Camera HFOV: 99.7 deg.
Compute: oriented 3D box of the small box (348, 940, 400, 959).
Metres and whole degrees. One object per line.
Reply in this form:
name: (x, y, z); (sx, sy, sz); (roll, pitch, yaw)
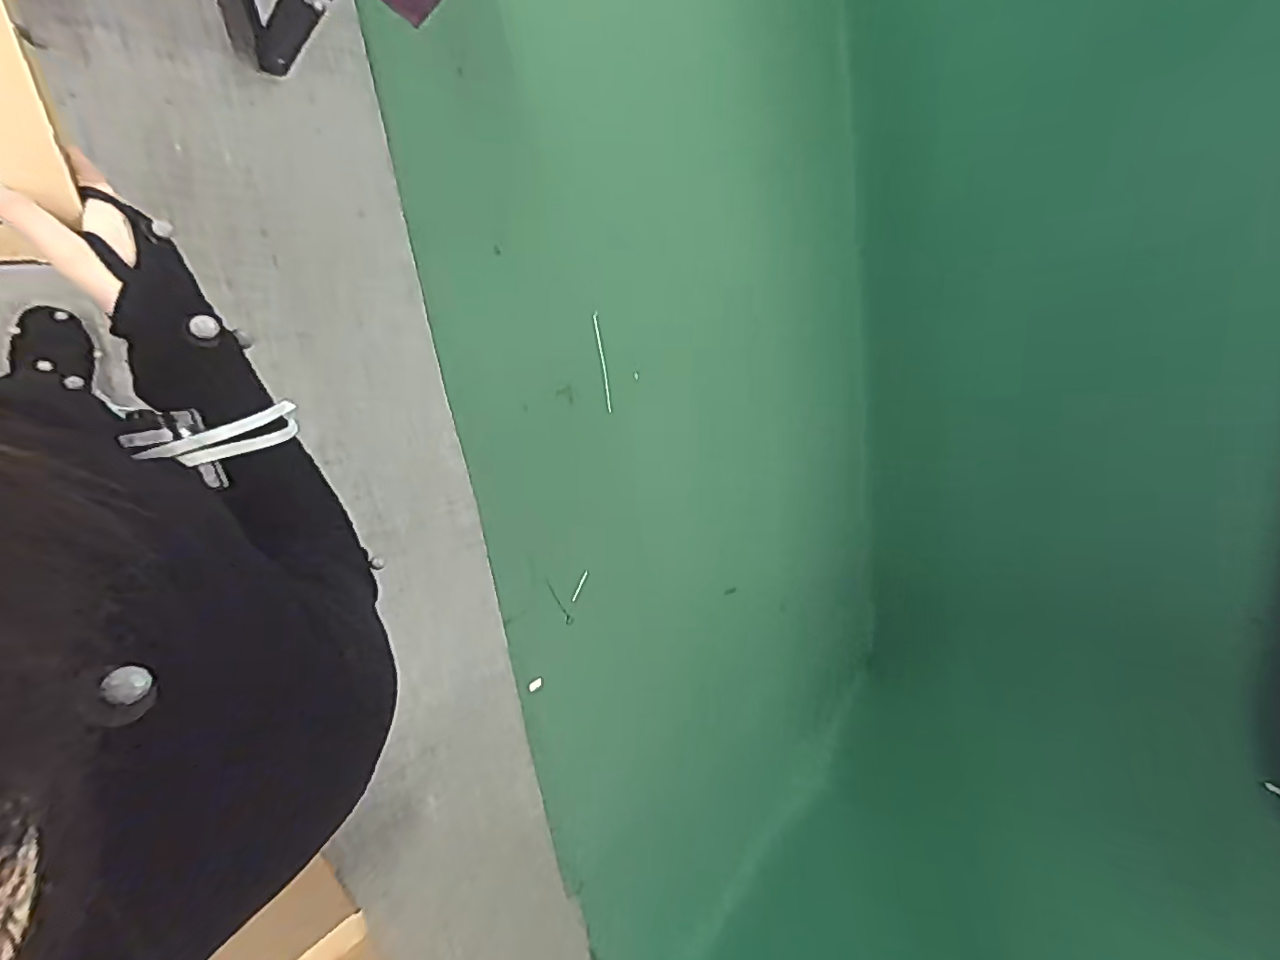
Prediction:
small box: (-0.500, 0.996, 0.980); (0.168, 0.176, 0.179); (-20, 107, -42)
